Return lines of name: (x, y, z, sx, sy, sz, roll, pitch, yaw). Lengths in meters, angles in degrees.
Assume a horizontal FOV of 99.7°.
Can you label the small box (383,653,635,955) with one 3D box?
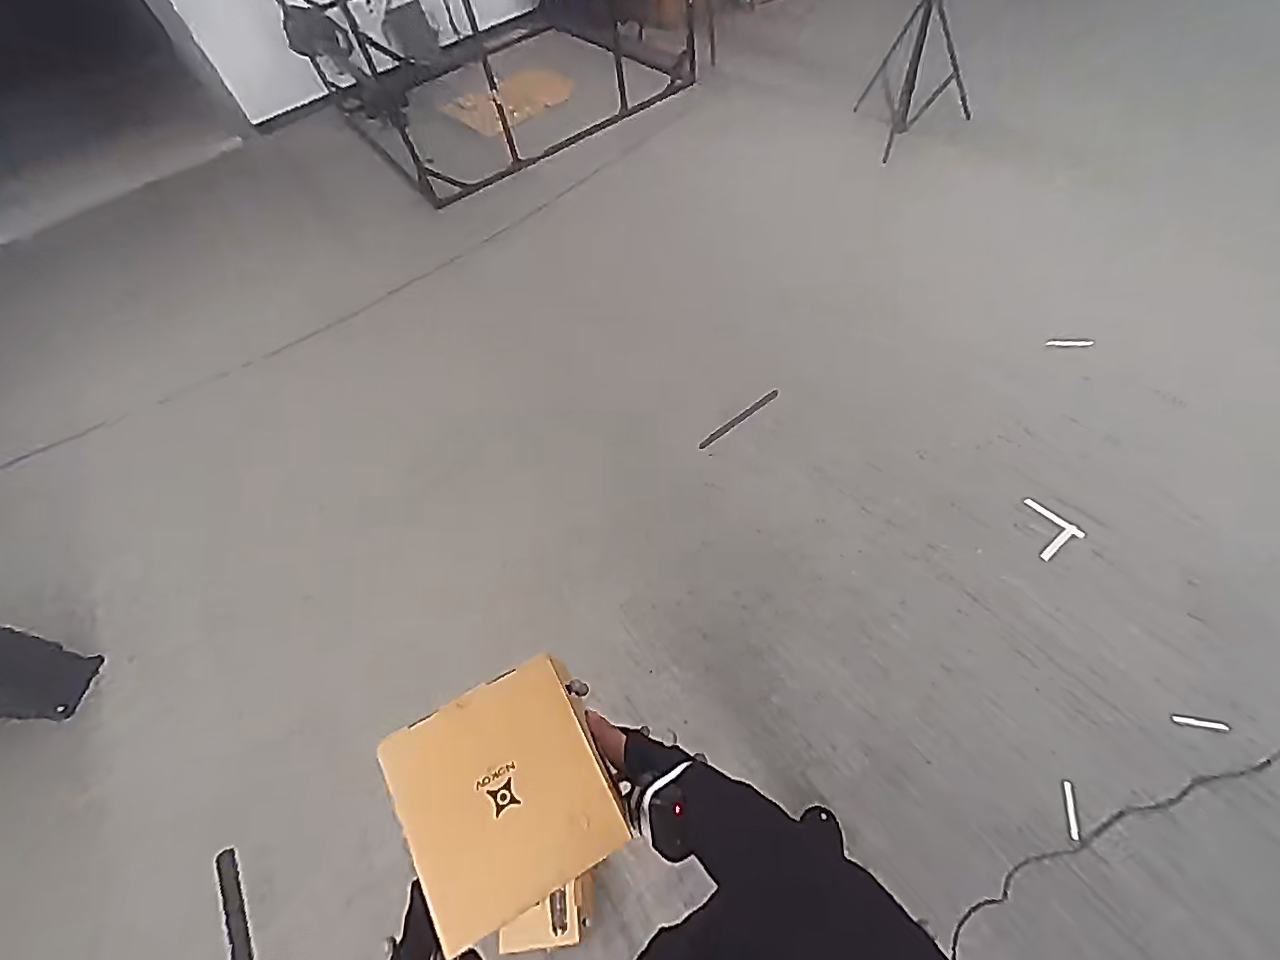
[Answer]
small box: (-0.117, 0.293, 0.532, 0.168, 0.176, 0.179, -25, 71, -14)
